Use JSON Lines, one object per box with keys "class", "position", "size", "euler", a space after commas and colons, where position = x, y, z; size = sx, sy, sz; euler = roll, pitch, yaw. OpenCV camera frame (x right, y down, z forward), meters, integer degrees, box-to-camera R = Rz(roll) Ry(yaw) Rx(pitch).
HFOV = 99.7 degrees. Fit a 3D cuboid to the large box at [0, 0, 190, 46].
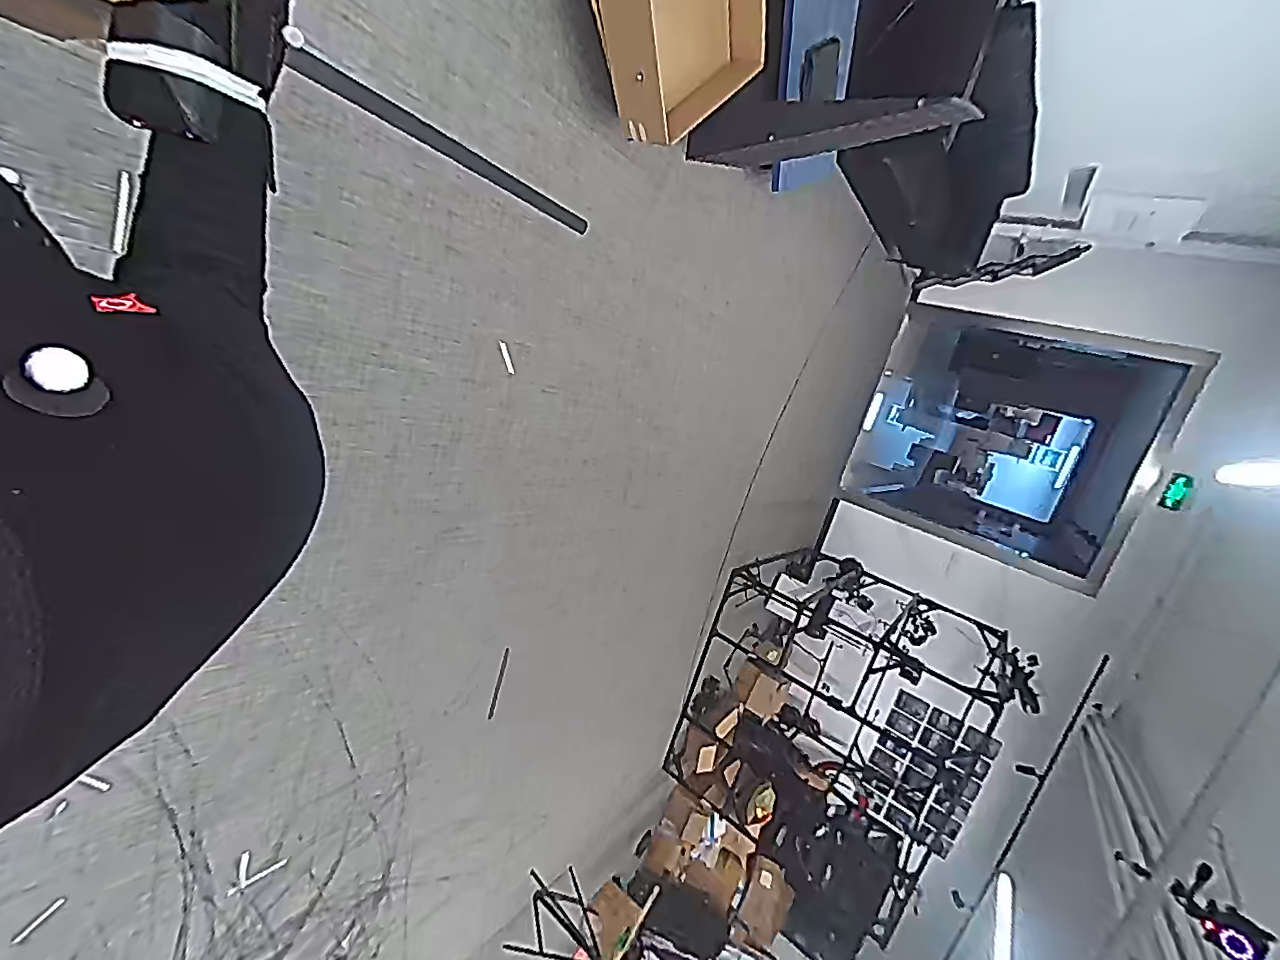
{"class": "large box", "position": [-0.490, -0.466, 0.226], "size": [0.408, 0.320, 0.320], "euler": [-9, 121, -57]}
